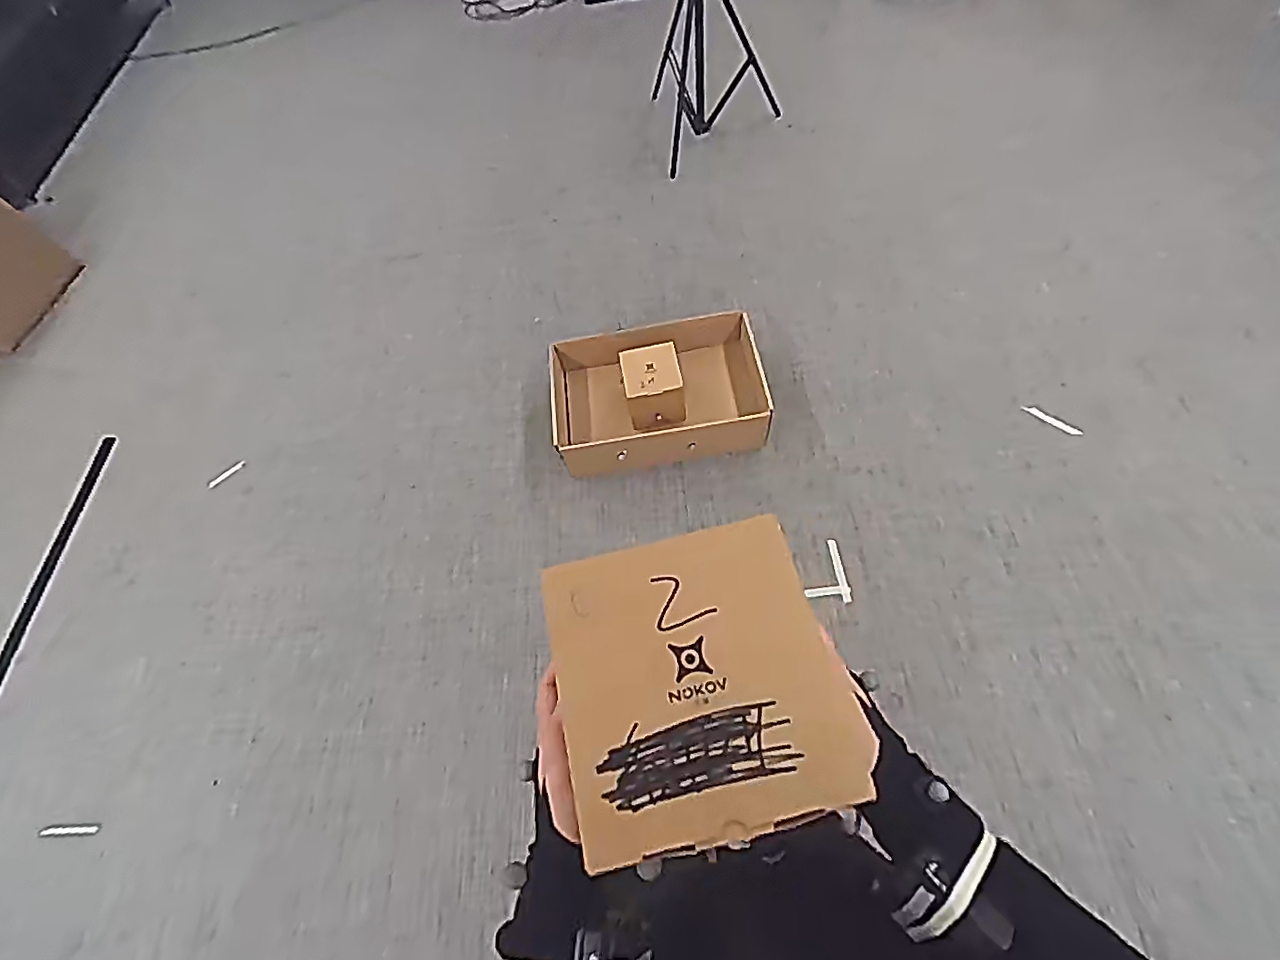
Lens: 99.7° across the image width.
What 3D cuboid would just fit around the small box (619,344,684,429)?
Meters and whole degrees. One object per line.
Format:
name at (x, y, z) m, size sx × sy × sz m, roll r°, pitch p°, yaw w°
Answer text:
small box at (0.037, -0.279, 1.632) m, size 0.168 × 0.176 × 0.179 m, roll -11°, pitch 62°, yaw 2°
